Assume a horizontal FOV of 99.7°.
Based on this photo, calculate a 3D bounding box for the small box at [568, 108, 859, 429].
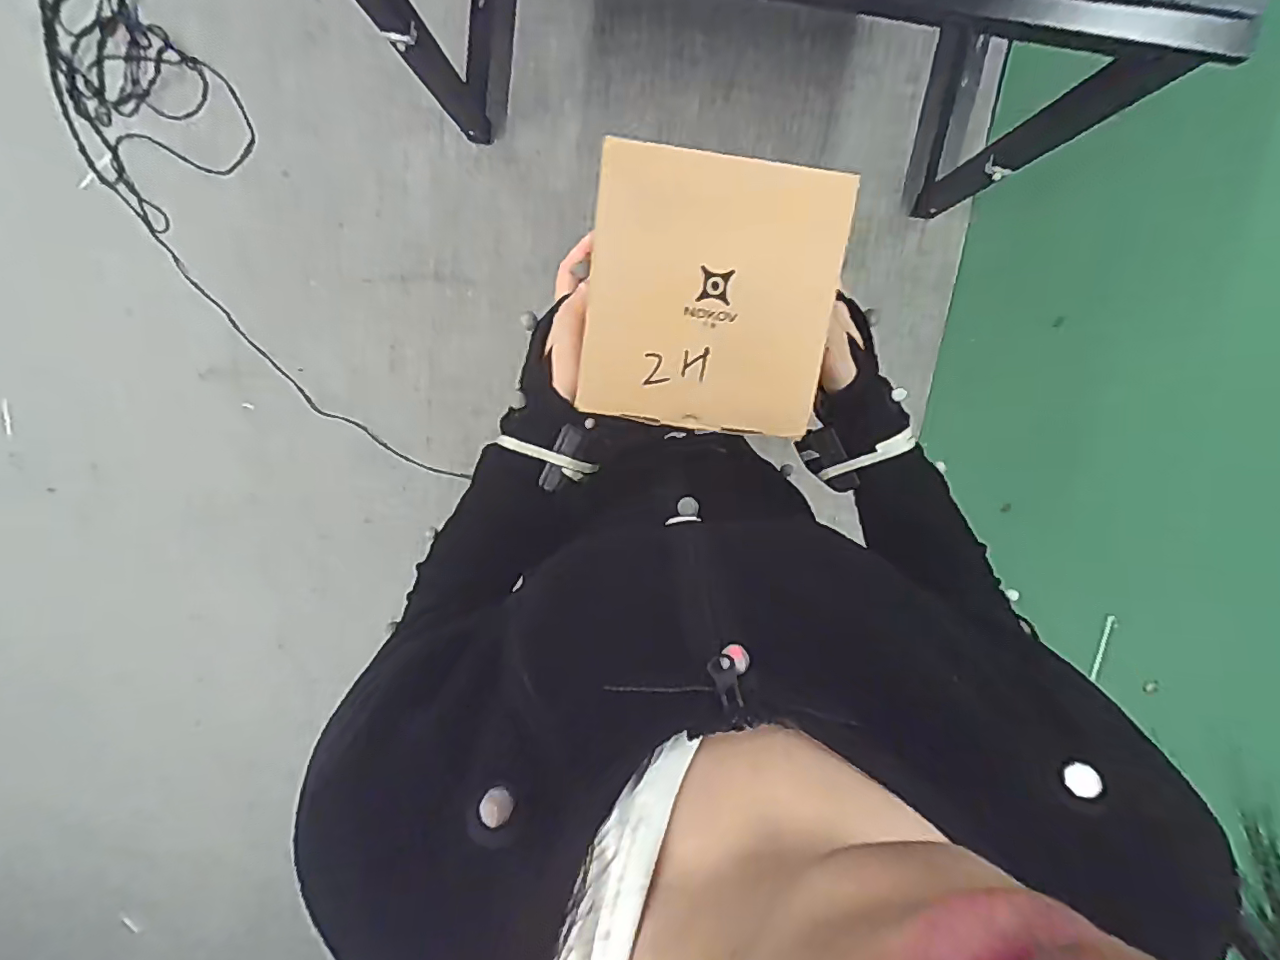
[{"bbox_3d":[0.042,-0.146,0.422,0.168,0.176,0.179,7,103,-2],"label":"small box"}]
